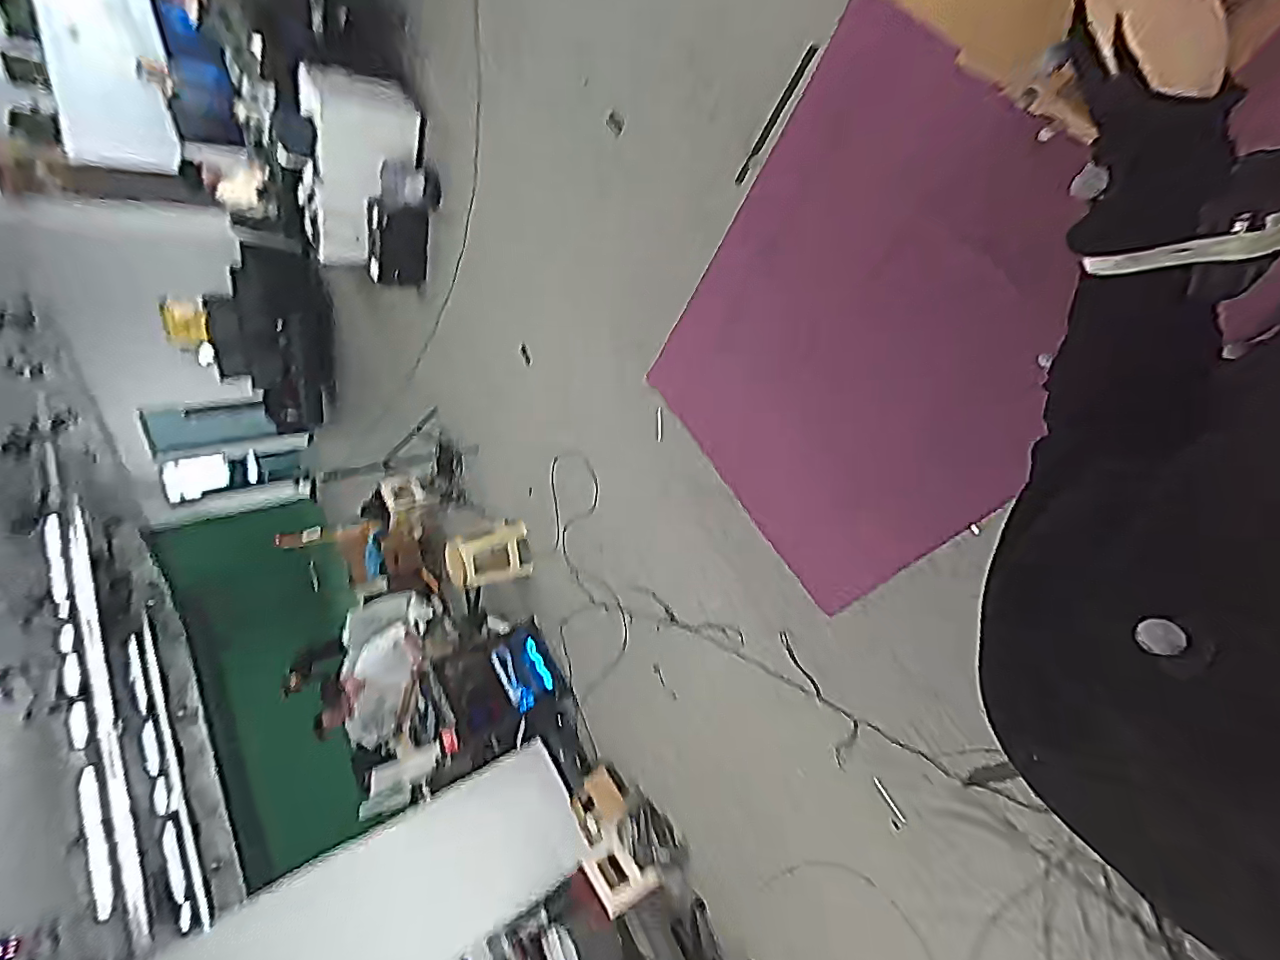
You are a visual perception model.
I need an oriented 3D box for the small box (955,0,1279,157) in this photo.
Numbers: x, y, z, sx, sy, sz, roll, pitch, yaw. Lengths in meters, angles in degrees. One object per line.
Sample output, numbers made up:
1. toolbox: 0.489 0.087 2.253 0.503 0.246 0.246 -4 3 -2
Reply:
1. small box: 0.439 -0.425 0.484 0.168 0.176 0.179 56 140 23
